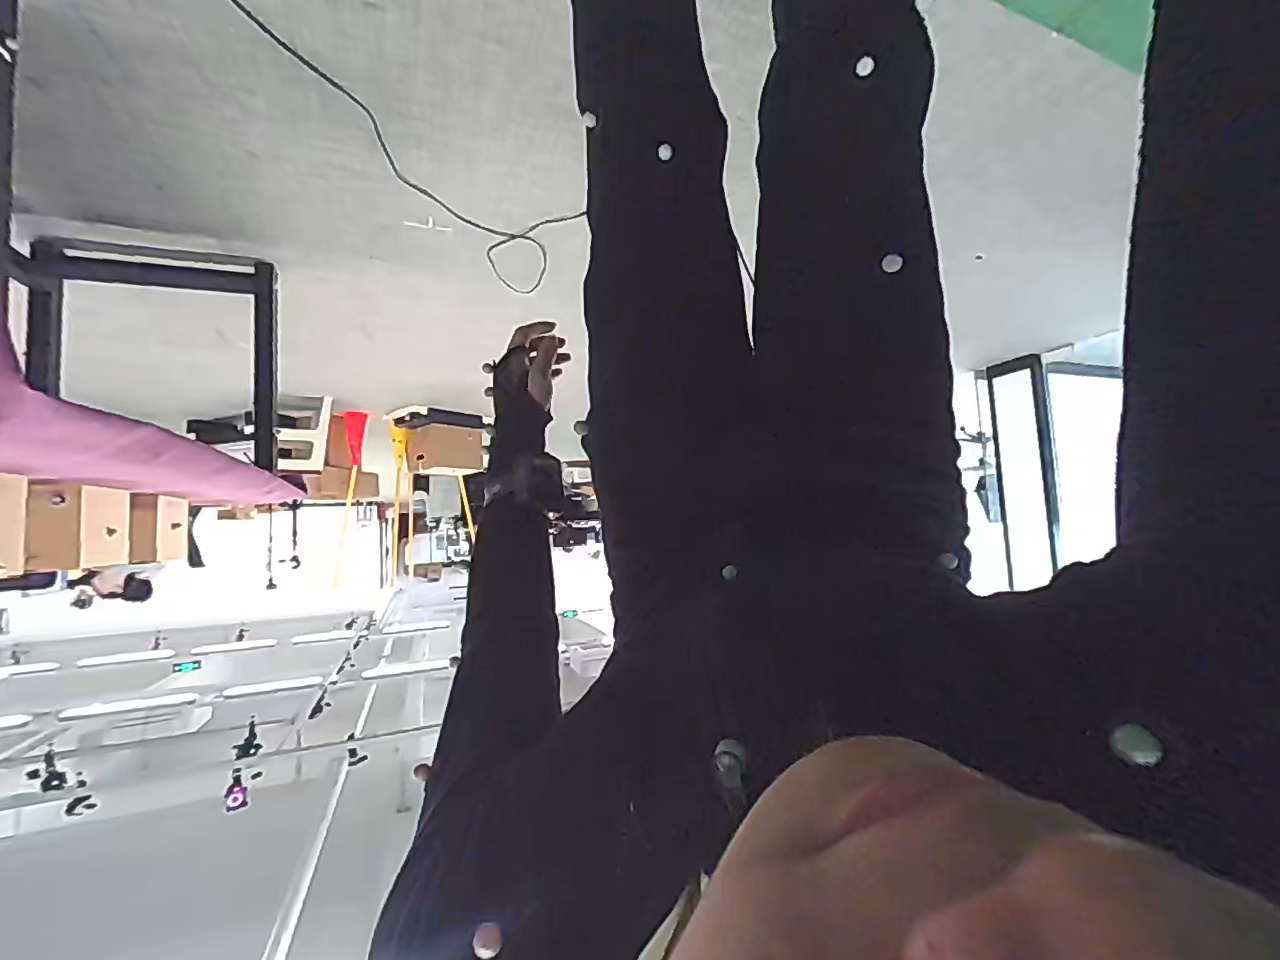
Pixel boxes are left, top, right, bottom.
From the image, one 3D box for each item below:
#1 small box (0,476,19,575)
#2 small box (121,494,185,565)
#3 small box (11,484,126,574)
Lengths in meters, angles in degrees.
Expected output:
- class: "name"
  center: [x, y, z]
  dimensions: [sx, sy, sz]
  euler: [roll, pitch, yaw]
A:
- class: "small box"
  center: [-1.069, 0.065, 0.781]
  dimensions: [0.179, 0.176, 0.168]
  euler: [-1, 175, -21]
- class: "small box"
  center: [-1.281, 0.124, 1.352]
  dimensions: [0.179, 0.176, 0.168]
  euler: [-2, 175, -20]
- class: "small box"
  center: [-1.179, 0.096, 1.081]
  dimensions: [0.168, 0.176, 0.179]
  euler: [-1, 176, -20]
